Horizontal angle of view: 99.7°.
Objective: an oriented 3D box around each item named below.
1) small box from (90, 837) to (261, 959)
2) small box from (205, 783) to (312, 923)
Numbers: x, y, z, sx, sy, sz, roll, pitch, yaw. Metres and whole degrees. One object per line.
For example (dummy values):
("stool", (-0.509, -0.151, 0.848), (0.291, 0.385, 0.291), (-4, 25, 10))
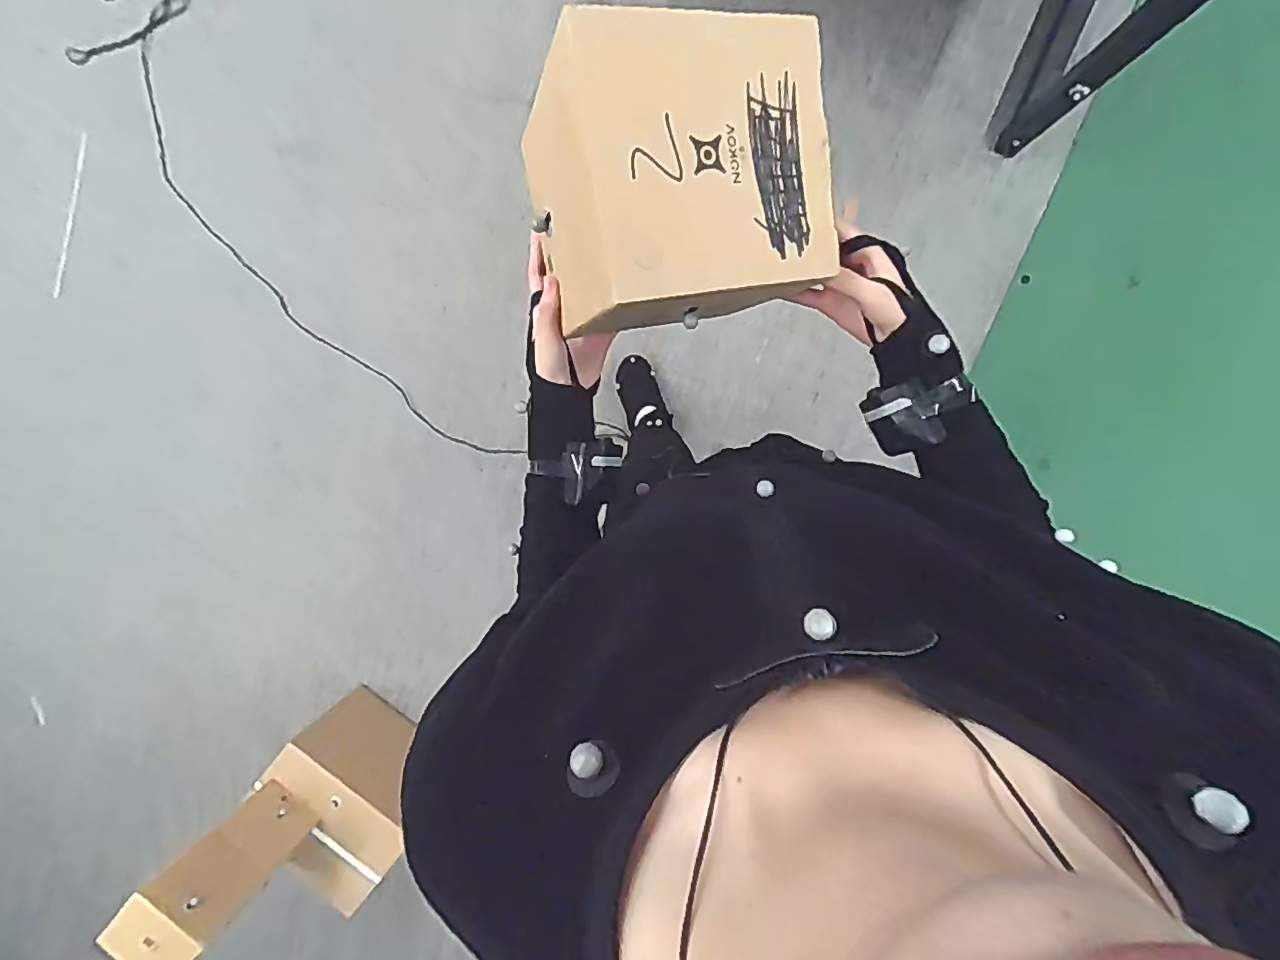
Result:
("small box", (-0.951, 0.891, 1.123), (0.179, 0.176, 0.168), (41, 99, -1))
("small box", (-0.930, 0.876, 1.283), (0.168, 0.176, 0.179), (40, 99, -1))
